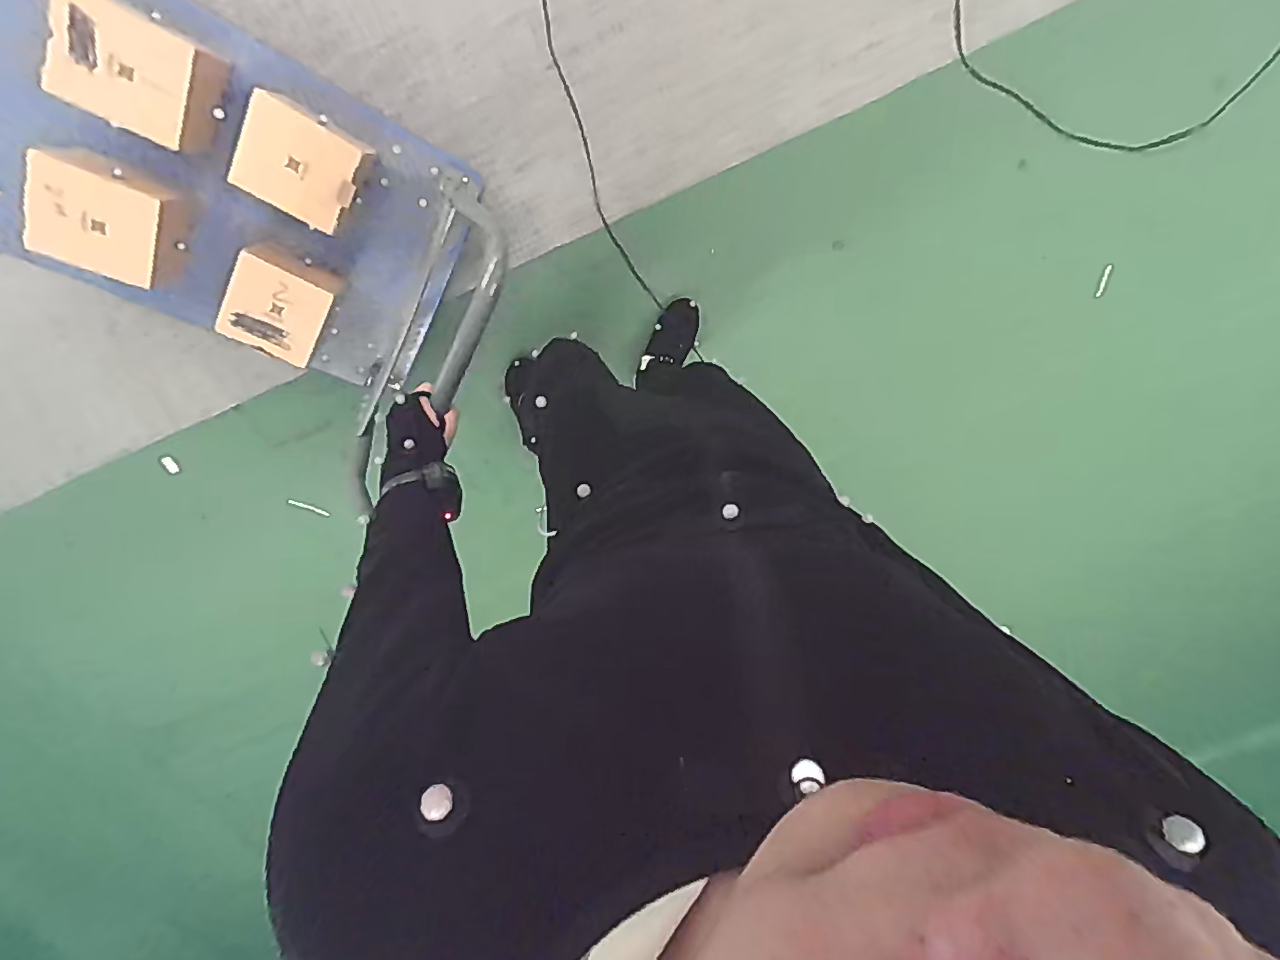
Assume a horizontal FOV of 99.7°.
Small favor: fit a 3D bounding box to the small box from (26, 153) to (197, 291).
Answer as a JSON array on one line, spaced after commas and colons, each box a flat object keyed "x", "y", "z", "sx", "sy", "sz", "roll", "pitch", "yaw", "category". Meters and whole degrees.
[{"x": -0.960, "y": -0.477, "z": 0.998, "sx": 0.179, "sy": 0.176, "sz": 0.168, "roll": 17, "pitch": 112, "yaw": -25, "category": "small box"}]

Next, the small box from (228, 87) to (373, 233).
[{"x": -0.634, "y": -0.599, "z": 1.029, "sx": 0.179, "sy": 0.176, "sz": 0.168, "roll": 22, "pitch": 111, "yaw": -28, "category": "small box"}]

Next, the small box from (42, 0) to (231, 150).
[{"x": -0.837, "y": -0.685, "z": 0.914, "sx": 0.179, "sy": 0.176, "sz": 0.168, "roll": 19, "pitch": 113, "yaw": -27, "category": "small box"}]
